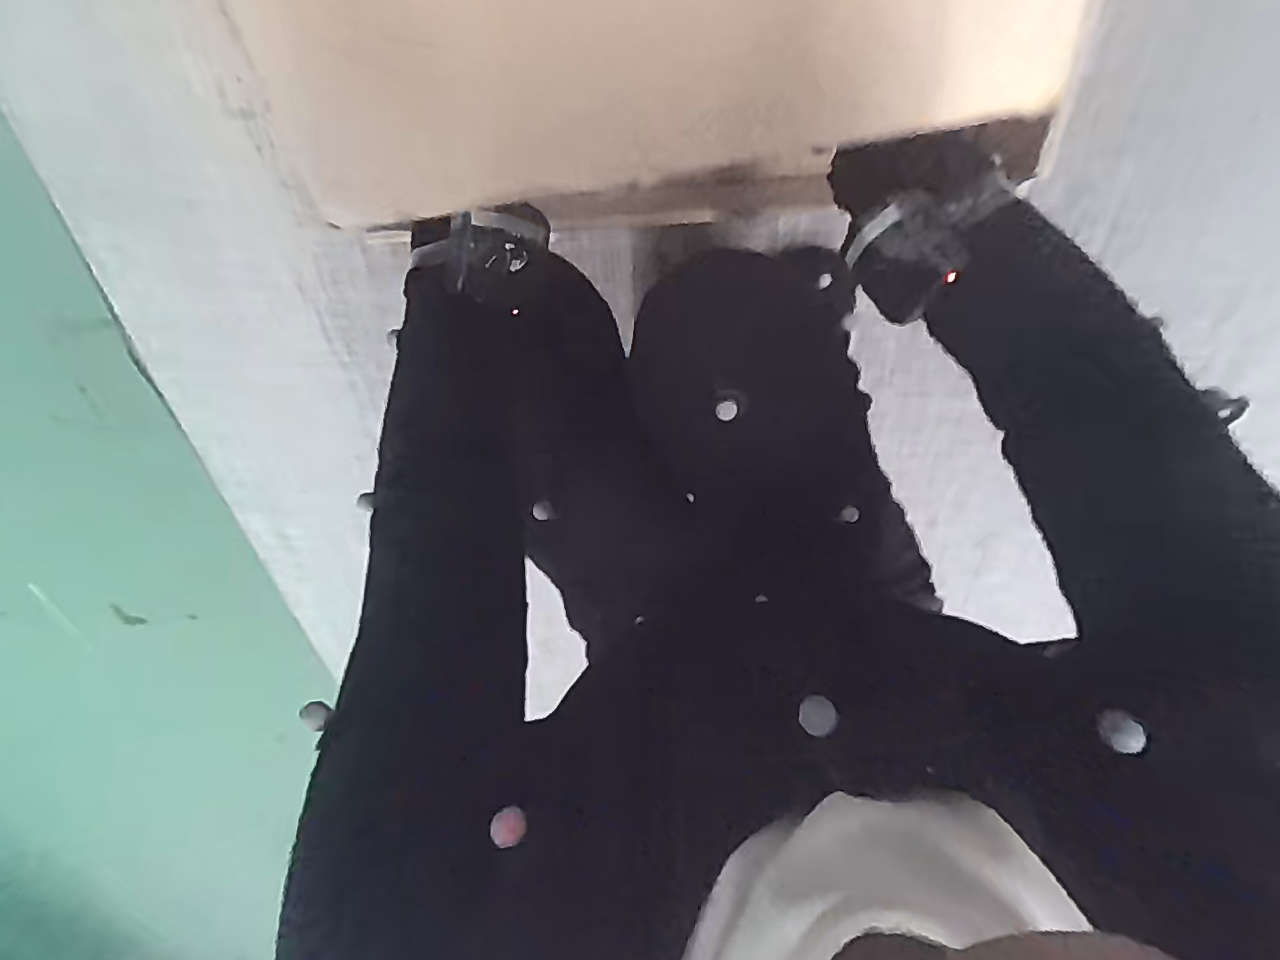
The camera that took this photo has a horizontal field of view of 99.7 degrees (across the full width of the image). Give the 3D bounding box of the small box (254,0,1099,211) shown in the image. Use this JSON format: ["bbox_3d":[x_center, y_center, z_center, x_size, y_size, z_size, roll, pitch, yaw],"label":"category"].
[{"bbox_3d":[-0.002,-0.188,0.149,0.179,0.176,0.168,-8,124,7],"label":"small box"}]
